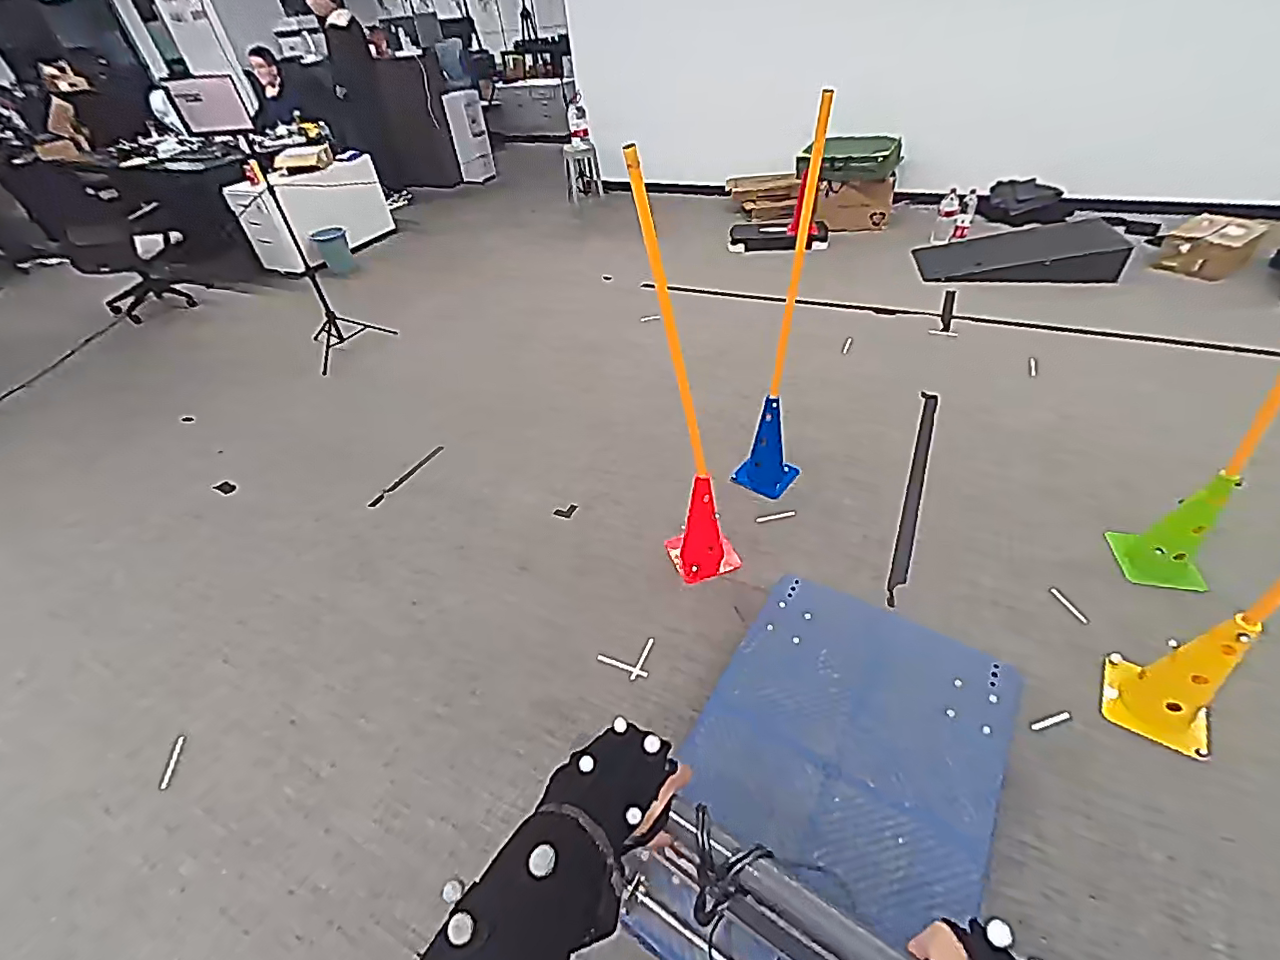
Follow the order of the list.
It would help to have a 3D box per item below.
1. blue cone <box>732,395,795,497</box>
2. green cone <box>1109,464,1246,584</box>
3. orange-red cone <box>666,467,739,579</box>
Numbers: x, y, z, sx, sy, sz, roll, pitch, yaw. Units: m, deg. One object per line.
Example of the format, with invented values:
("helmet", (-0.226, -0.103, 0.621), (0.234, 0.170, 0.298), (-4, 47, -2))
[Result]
("blue cone", (0.452, -0.142, 1.919), (0.193, 0.380, 0.192), (27, 53, 31))
("green cone", (1.531, 0.097, 1.501), (0.200, 0.368, 0.202), (5, 44, 12))
("orange-red cone", (0.192, 0.104, 1.657), (0.199, 0.360, 0.198), (-15, 43, -12))
